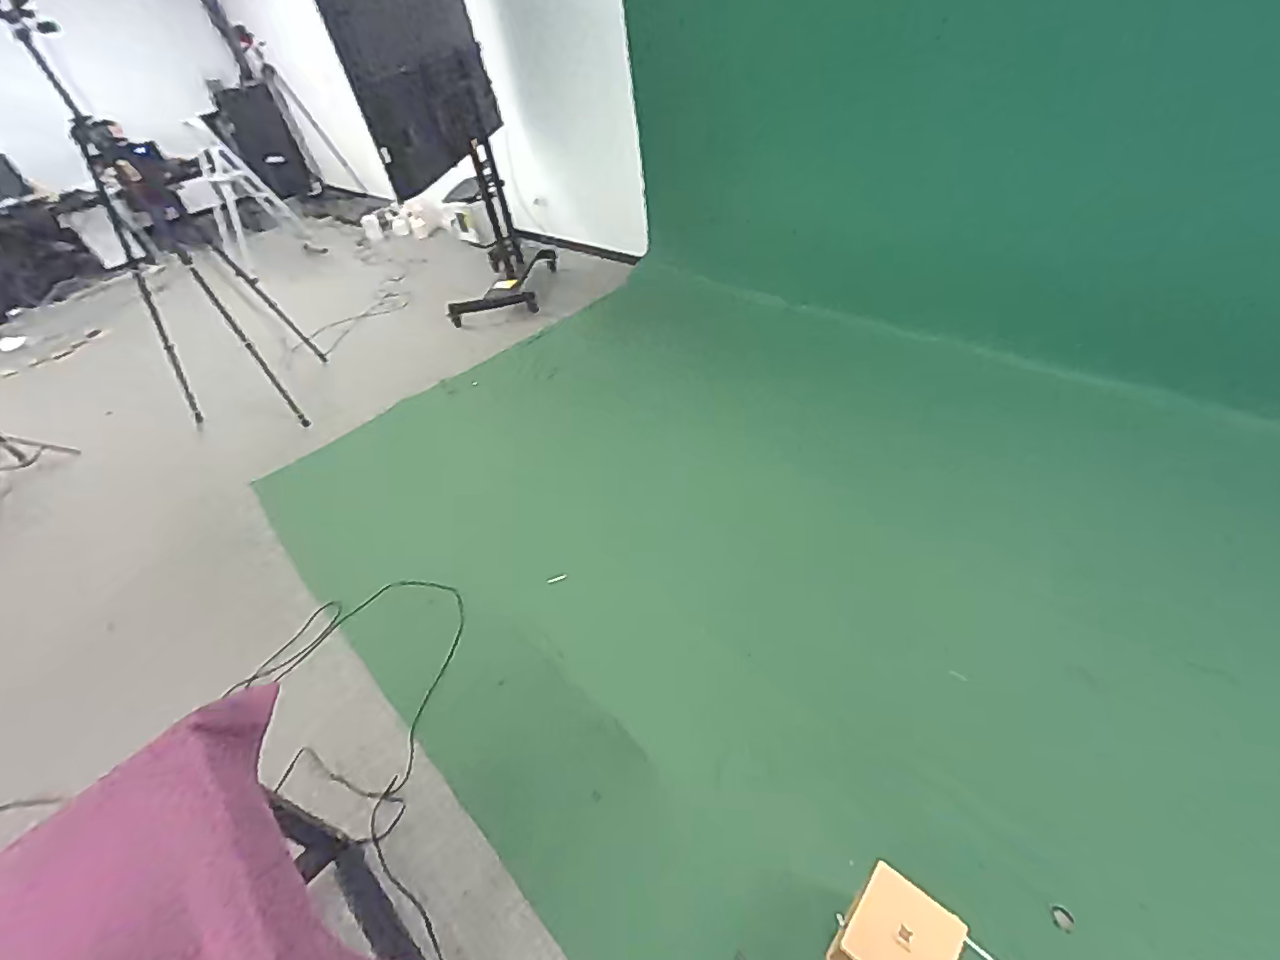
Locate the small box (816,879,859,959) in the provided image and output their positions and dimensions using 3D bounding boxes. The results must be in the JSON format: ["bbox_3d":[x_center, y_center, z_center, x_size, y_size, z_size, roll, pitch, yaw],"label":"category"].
[{"bbox_3d":[0.489,1.007,1.146,0.168,0.176,0.179,28,54,34],"label":"small box"}]

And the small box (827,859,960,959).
[{"bbox_3d":[0.477,0.886,1.039,0.168,0.176,0.179,27,54,33],"label":"small box"}]
